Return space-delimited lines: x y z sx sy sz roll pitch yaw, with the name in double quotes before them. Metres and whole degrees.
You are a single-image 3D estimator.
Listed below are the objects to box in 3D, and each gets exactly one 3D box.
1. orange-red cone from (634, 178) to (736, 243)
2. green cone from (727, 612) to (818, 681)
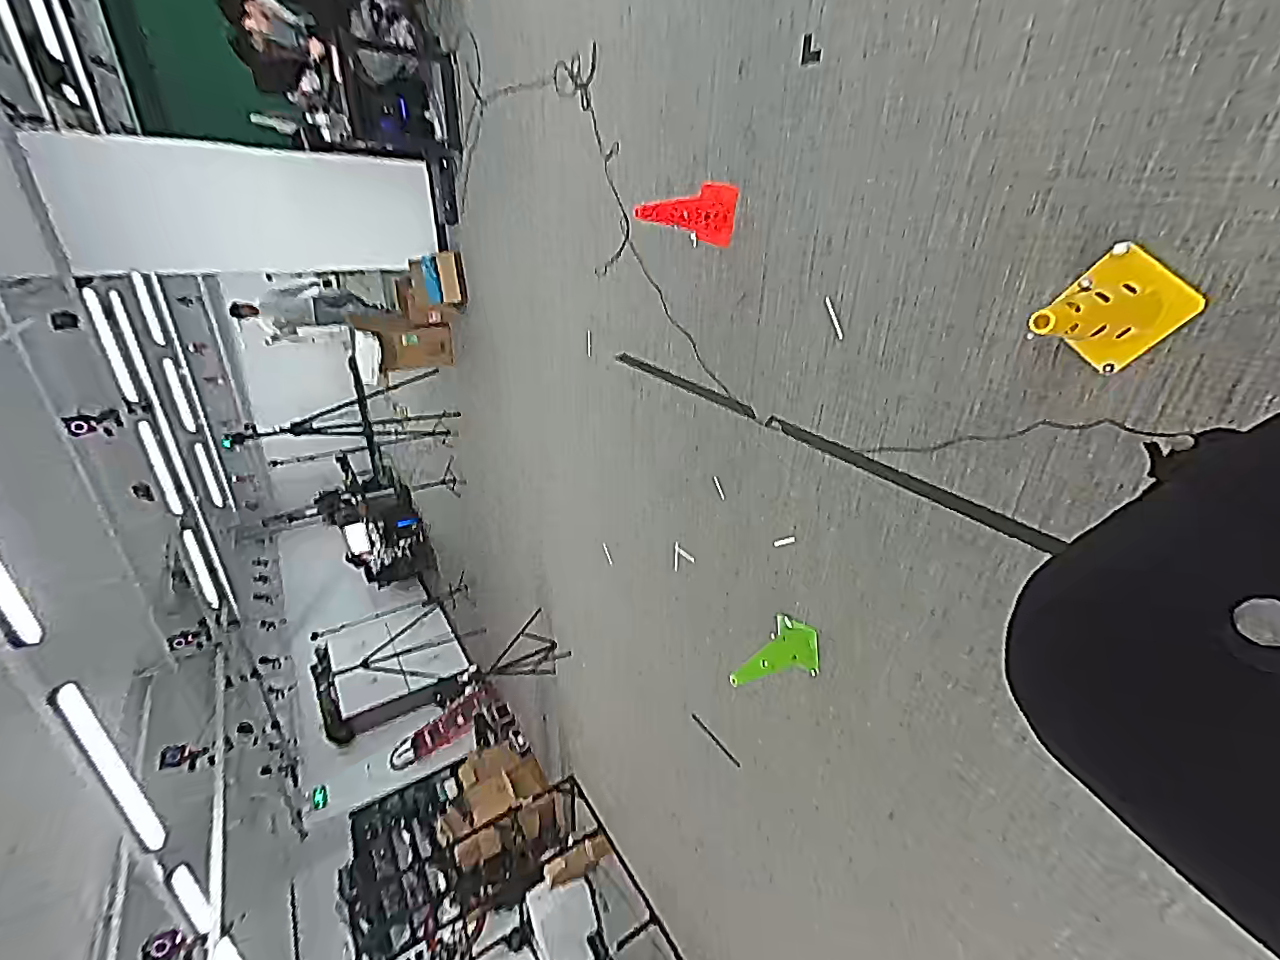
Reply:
"orange-red cone" 0.136 -0.956 1.912 0.199 0.360 0.198 41 137 41
"green cone" 0.490 0.686 2.086 0.202 0.368 0.200 15 115 57
